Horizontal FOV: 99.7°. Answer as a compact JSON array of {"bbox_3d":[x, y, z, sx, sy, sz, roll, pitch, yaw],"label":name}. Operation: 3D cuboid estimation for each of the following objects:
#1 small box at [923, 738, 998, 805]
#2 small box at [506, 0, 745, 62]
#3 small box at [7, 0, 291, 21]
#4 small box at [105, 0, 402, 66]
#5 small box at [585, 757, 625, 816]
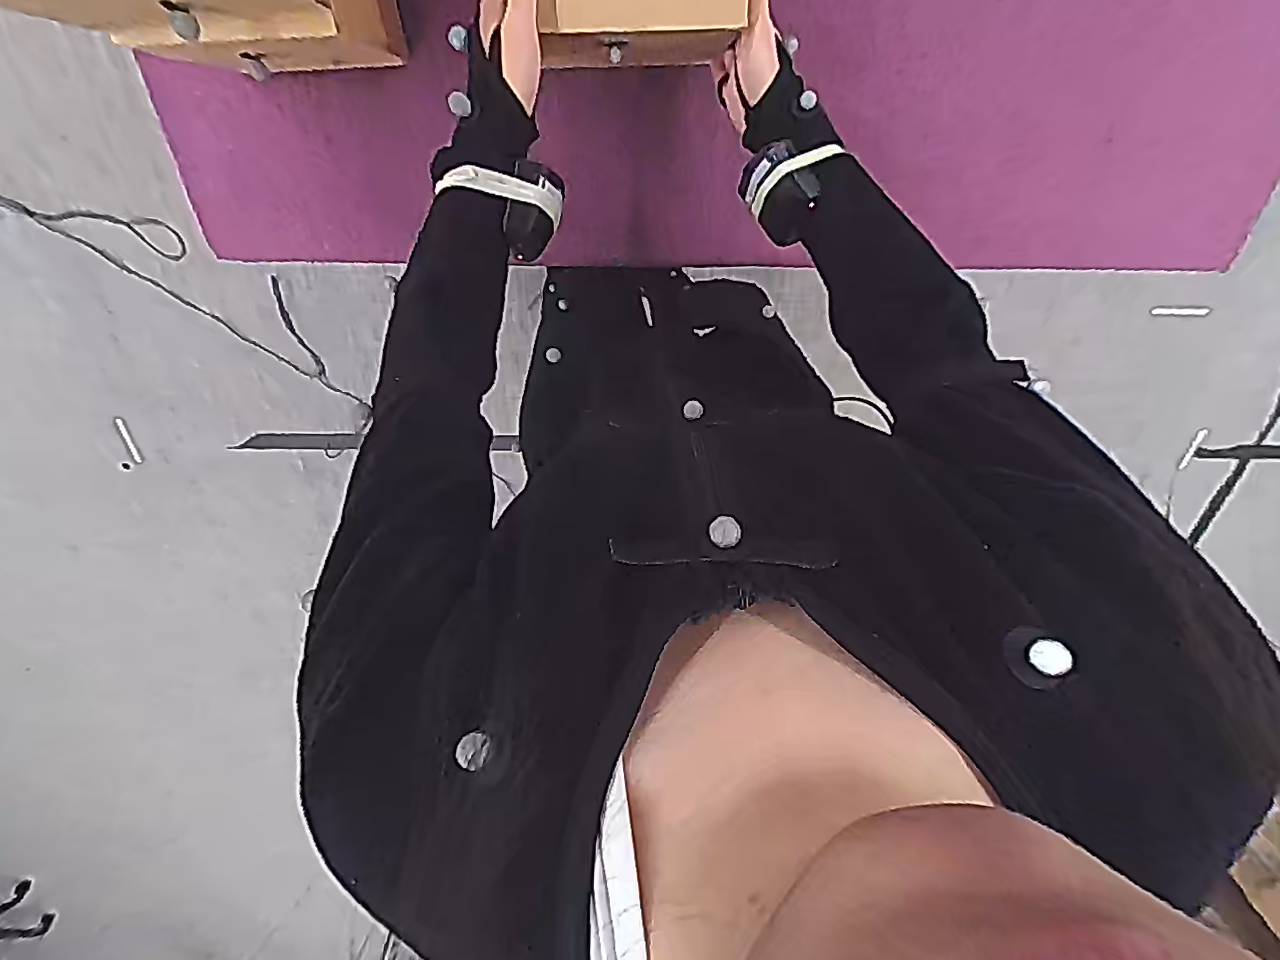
[{"bbox_3d":[1.238,1.136,2.108,0.168,0.176,0.179,3,120,-5],"label":"small box"},{"bbox_3d":[-0.014,-0.445,0.427,0.179,0.176,0.168,-3,121,-2],"label":"small box"},{"bbox_3d":[-0.308,-0.361,0.275,0.179,0.176,0.168,-6,120,0],"label":"small box"},{"bbox_3d":[-0.309,-0.439,0.419,0.168,0.176,0.179,-4,121,0],"label":"small box"},{"bbox_3d":[-0.151,1.330,2.357,0.168,0.176,0.179,-2,122,0],"label":"small box"}]
